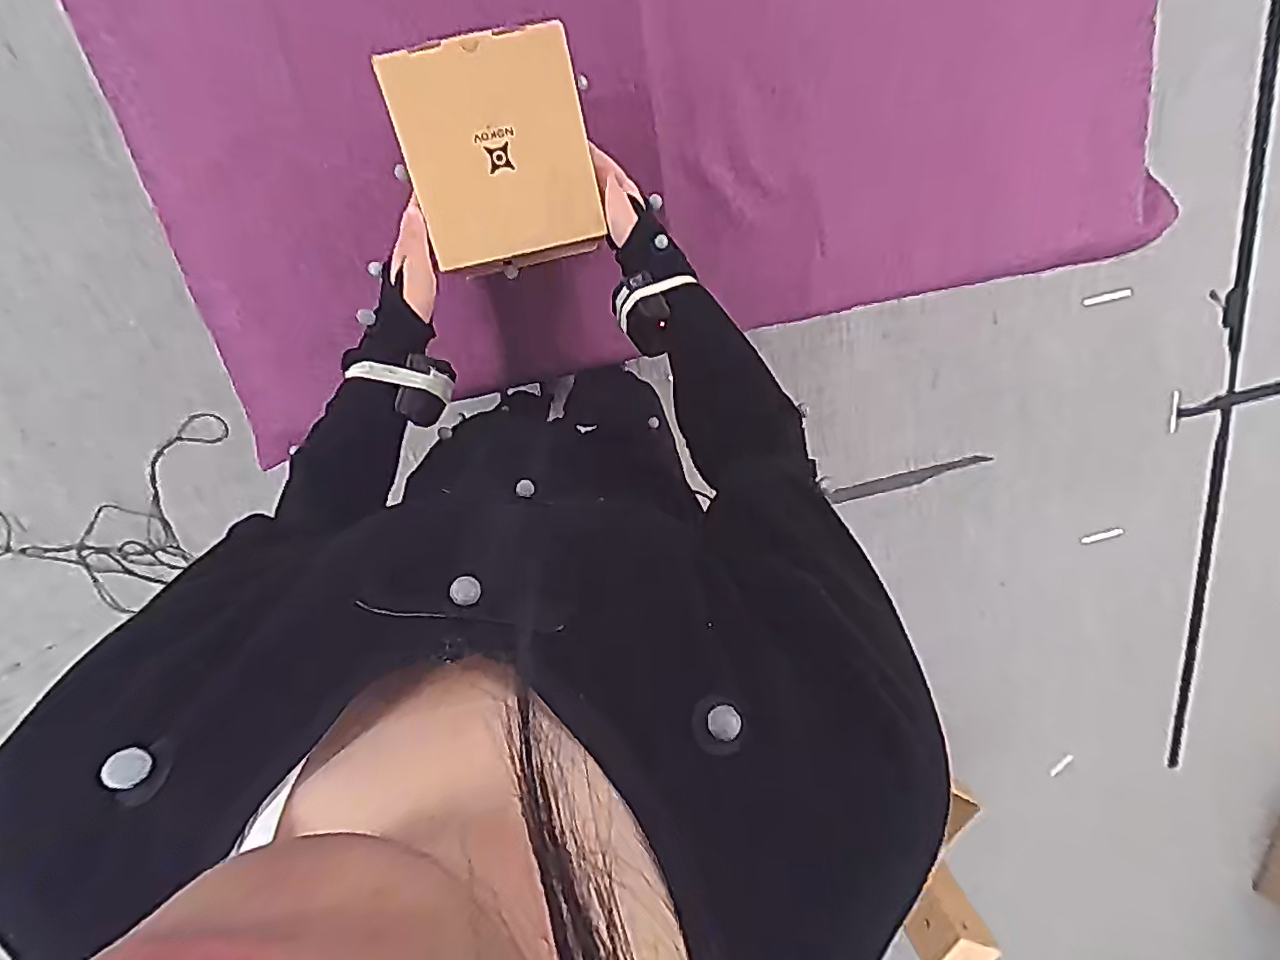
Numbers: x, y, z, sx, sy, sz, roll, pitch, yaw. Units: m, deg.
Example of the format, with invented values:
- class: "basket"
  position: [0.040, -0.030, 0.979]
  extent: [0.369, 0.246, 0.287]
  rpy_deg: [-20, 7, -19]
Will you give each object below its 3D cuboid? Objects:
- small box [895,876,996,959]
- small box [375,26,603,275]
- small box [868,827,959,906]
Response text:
- class: "small box"
  position: [0.932, 1.370, 1.670]
  extent: [0.179, 0.176, 0.168]
  rpy_deg: [26, 104, -16]
- class: "small box"
  position: [-0.140, -0.320, 0.567]
  extent: [0.168, 0.176, 0.179]
  rpy_deg: [-15, 109, -4]
- class: "small box"
  position: [0.913, 1.314, 1.824]
  extent: [0.179, 0.176, 0.168]
  rpy_deg: [27, 104, -17]
